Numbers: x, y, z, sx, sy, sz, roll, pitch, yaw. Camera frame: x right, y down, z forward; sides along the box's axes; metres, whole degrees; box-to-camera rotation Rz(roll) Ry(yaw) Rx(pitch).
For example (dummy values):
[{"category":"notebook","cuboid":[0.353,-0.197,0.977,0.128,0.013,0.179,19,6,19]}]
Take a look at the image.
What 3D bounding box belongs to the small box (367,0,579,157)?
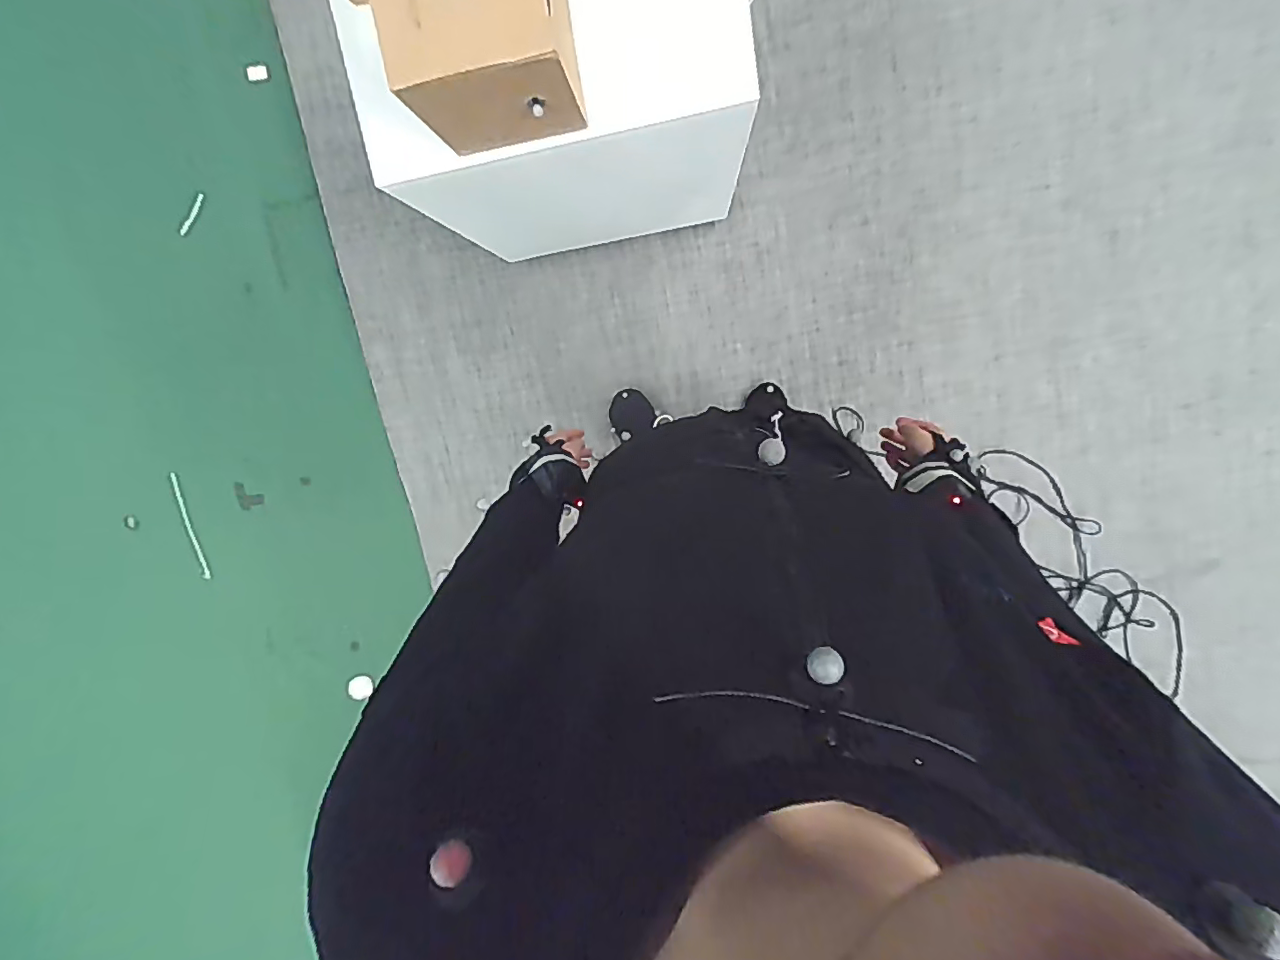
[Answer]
[{"category":"small box","cuboid":[-0.171,-0.486,0.591,0.179,0.176,0.168,-9,99,7]}]
